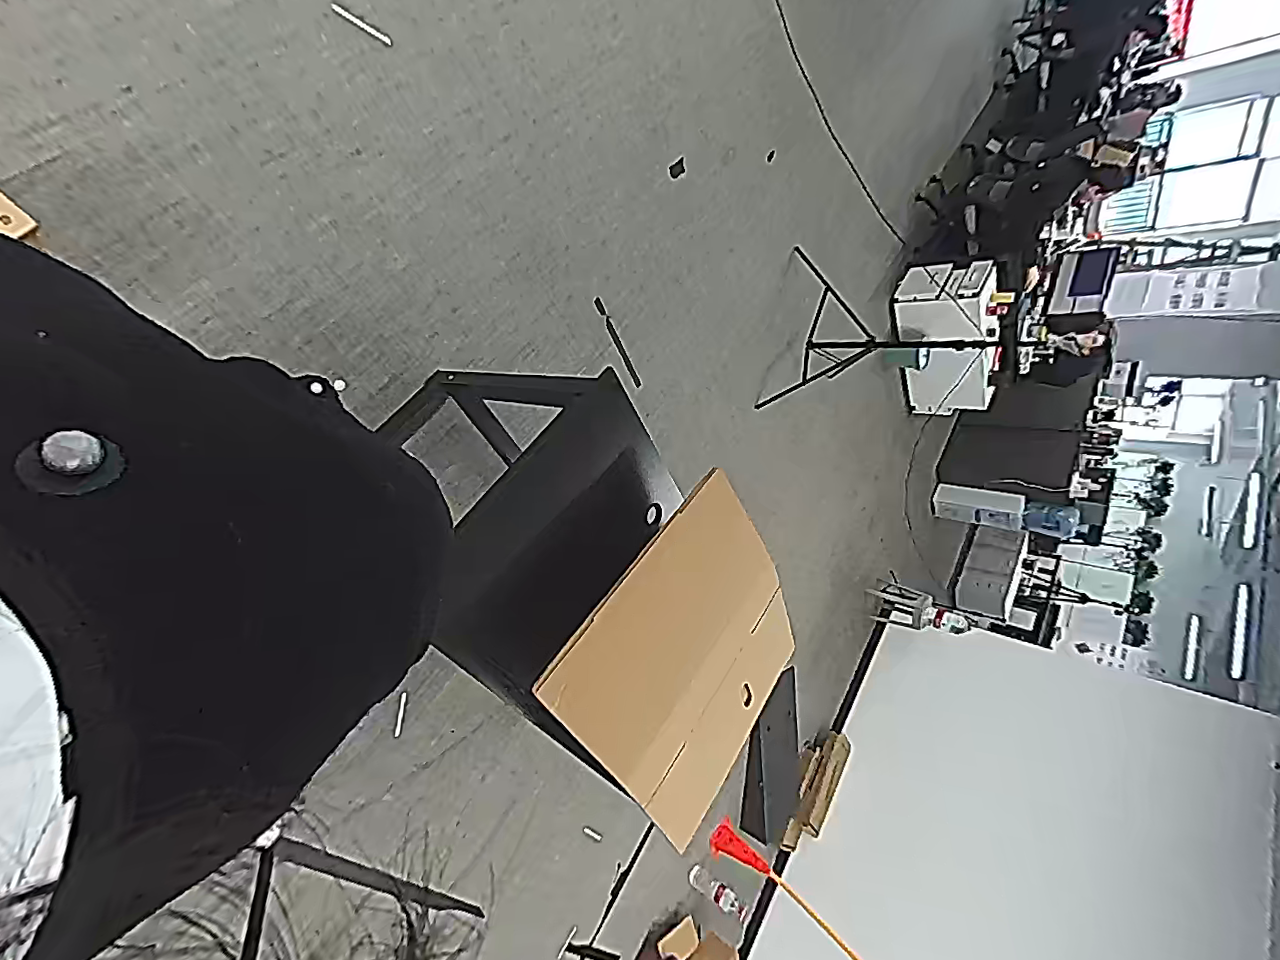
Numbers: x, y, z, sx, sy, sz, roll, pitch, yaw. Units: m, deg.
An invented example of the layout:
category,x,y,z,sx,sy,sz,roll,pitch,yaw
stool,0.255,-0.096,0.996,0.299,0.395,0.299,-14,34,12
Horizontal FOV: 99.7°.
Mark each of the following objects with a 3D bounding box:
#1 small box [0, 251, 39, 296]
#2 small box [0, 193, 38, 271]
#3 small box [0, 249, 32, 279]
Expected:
category,x,y,z,sx,sy,sz,roll,pitch,yaw
small box,-1.129,-0.363,0.857,0.179,0.176,0.168,-56,133,-22
small box,-0.889,-0.321,0.640,0.168,0.176,0.179,-57,134,-23
small box,-1.007,-0.345,0.751,0.179,0.176,0.168,-60,136,-22
